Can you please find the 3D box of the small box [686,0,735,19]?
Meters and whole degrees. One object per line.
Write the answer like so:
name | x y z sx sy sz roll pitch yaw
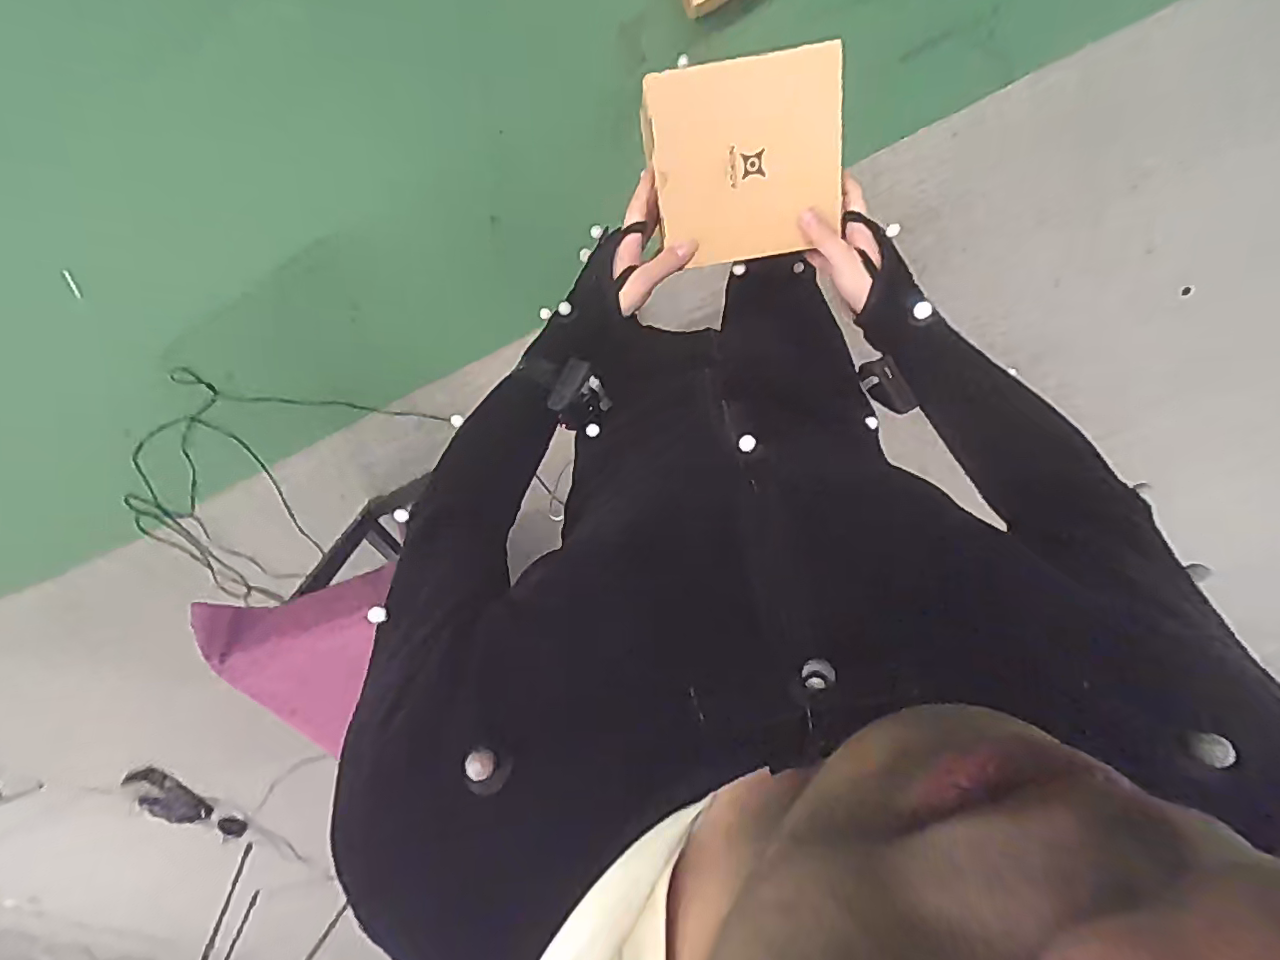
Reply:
small box | 0.157 -1.016 1.016 0.179 0.176 0.168 -20 119 15

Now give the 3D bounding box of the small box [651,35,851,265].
small box | 0.108 -0.334 0.574 0.179 0.176 0.168 -8 115 5
